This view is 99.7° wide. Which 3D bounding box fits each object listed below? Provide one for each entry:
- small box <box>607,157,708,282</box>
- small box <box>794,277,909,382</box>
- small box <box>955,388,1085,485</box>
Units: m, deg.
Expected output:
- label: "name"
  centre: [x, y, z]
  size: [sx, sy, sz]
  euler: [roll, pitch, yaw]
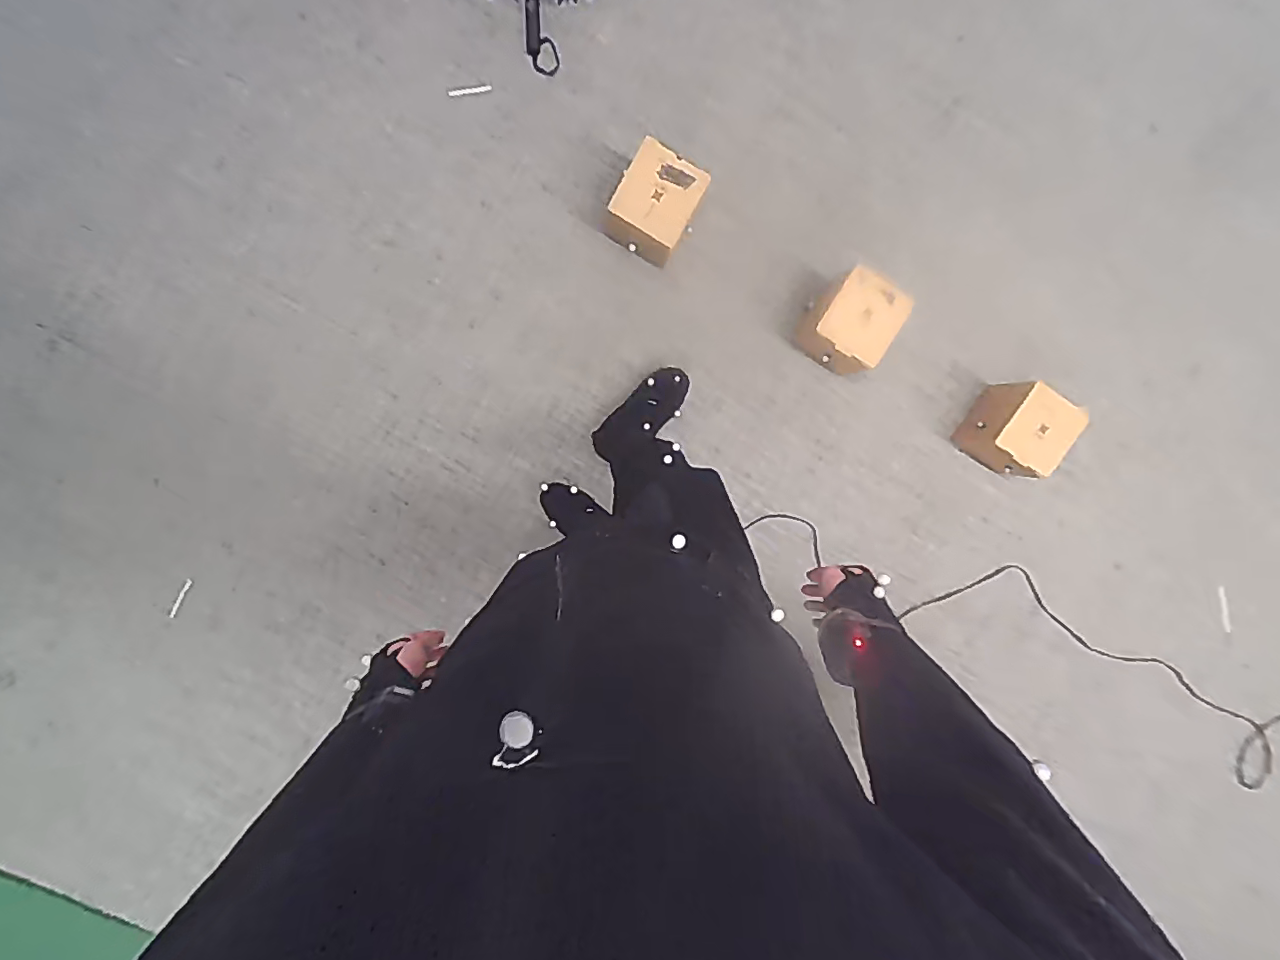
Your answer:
- label: "small box"
  centre: [0.033, -0.592, 1.253]
  size: [0.168, 0.176, 0.179]
  euler: [29, 95, -5]
- label: "small box"
  centre: [0.494, -0.350, 1.300]
  size: [0.168, 0.176, 0.179]
  euler: [32, 94, -5]
- label: "small box"
  centre: [0.929, -0.107, 1.344]
  size: [0.168, 0.176, 0.179]
  euler: [31, 93, -6]
